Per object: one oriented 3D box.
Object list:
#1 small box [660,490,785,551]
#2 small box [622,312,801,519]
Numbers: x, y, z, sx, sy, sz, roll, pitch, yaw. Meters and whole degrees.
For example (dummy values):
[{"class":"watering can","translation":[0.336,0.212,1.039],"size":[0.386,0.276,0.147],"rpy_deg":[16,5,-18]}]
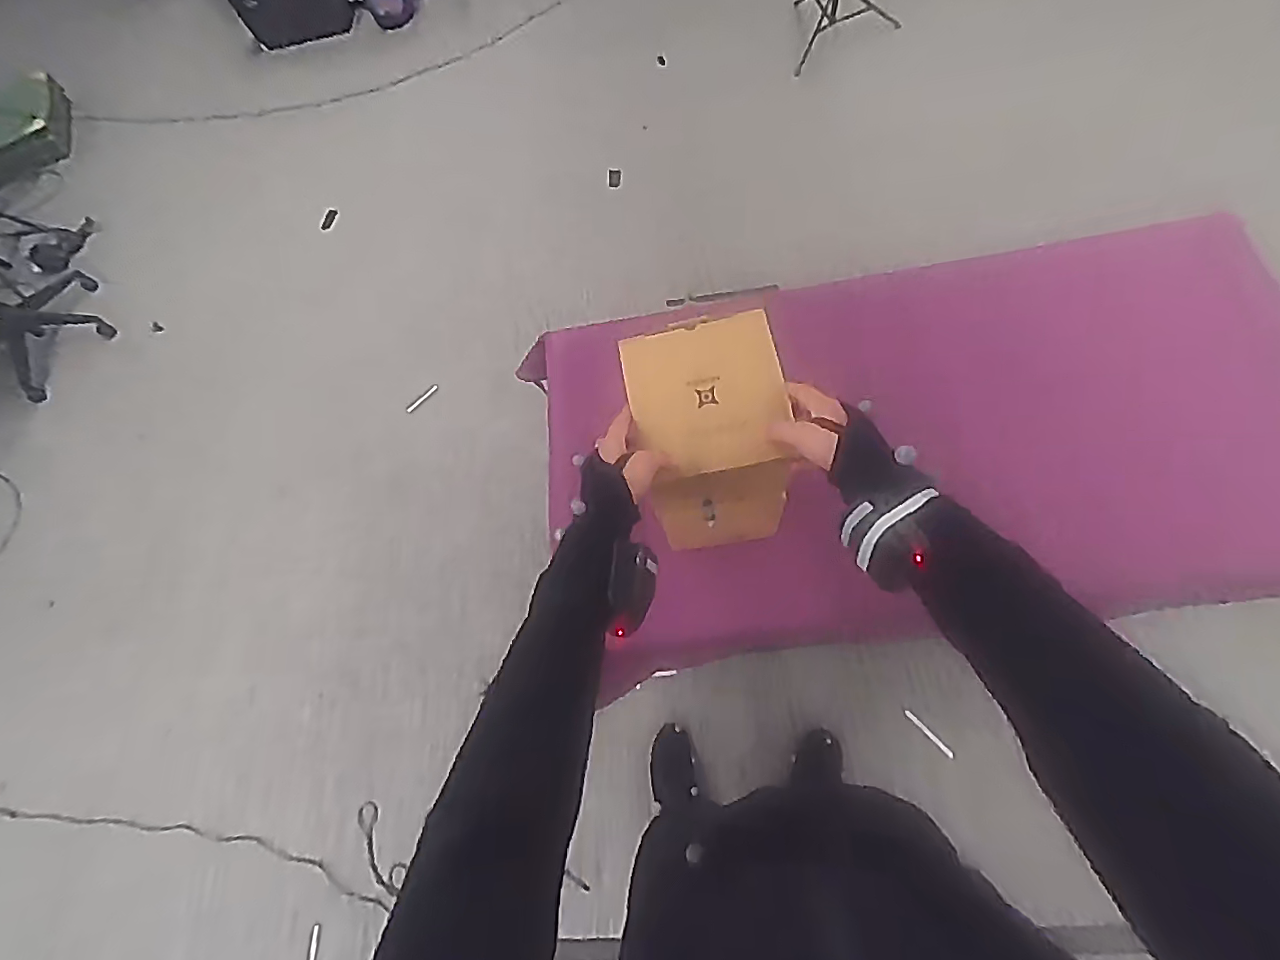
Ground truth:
[{"class":"small box","translation":[0.109,-0.008,0.804],"size":[0.168,0.176,0.179],"rpy_deg":[-10,66,5]},{"class":"small box","translation":[0.079,-0.066,0.646],"size":[0.168,0.176,0.179],"rpy_deg":[-11,73,5]}]
